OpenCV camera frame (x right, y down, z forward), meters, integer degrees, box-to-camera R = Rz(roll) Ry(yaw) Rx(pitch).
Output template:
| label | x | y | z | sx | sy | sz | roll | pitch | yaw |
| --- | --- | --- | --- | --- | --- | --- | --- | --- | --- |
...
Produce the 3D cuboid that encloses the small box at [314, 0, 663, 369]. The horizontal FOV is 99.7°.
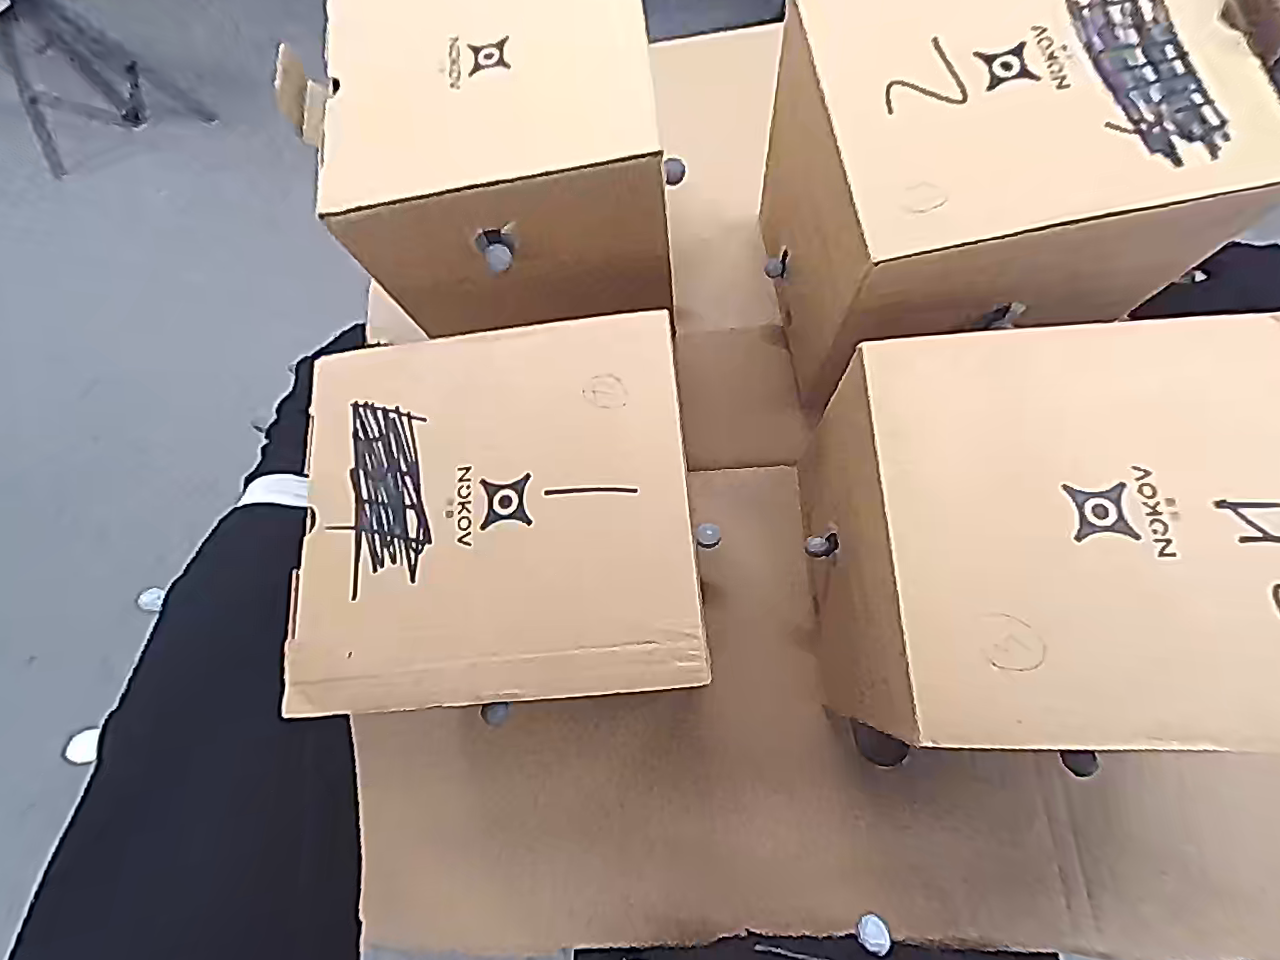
| label | x | y | z | sx | sy | sz | roll | pitch | yaw |
| --- | --- | --- | --- | --- | --- | --- | --- | --- | --- |
| small box | -0.081 | -0.195 | 0.365 | 0.179 | 0.176 | 0.168 | -9 | 74 | 6 |
